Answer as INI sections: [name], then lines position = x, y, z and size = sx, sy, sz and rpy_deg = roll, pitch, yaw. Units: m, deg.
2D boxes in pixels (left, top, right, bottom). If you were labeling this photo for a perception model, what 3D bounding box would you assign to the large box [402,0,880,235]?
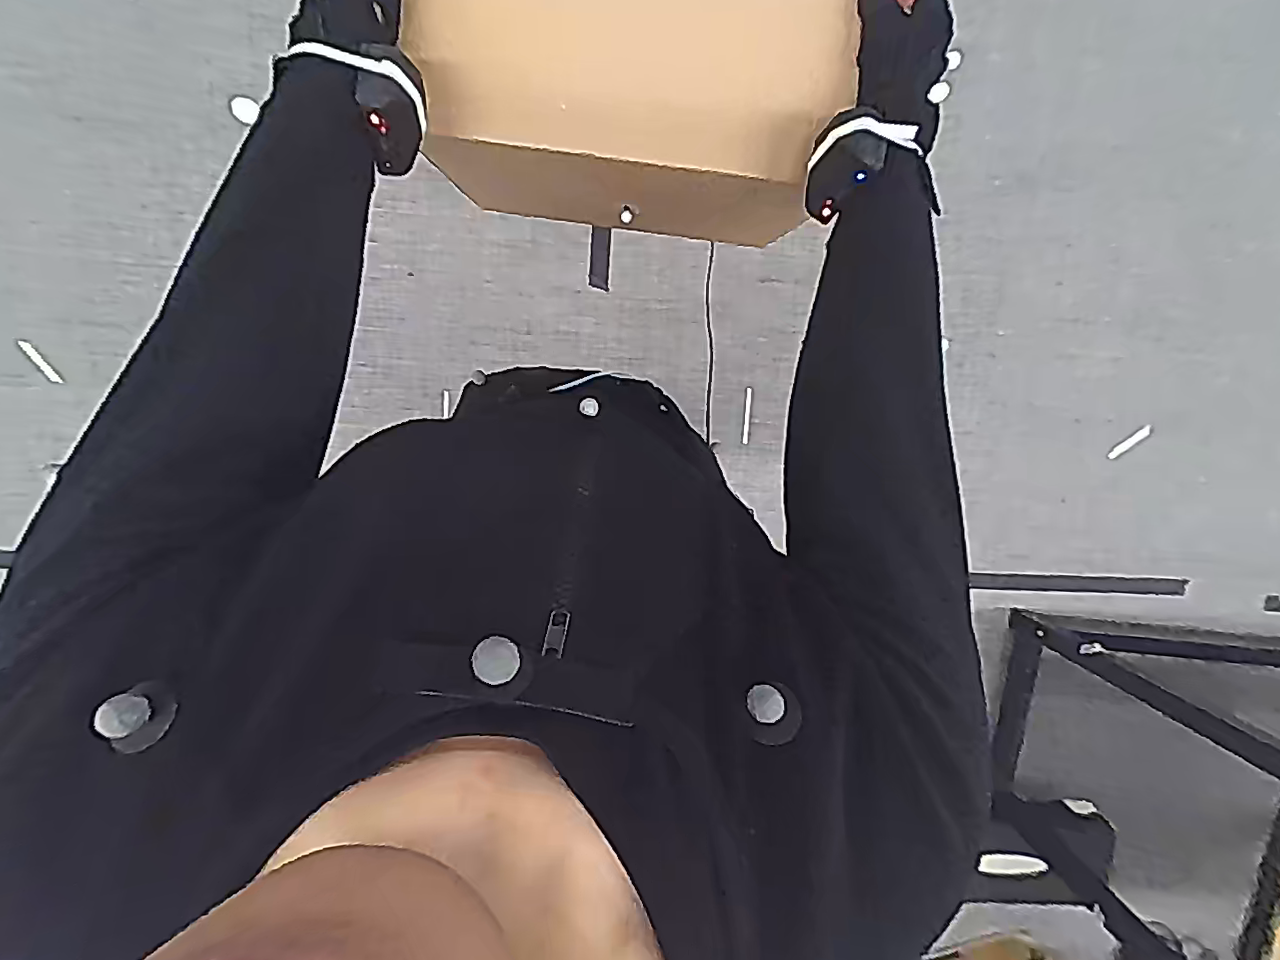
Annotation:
[large box]
position = 0.004, -0.470, 0.583
size = 0.408, 0.320, 0.320
rpy_deg = 6, 104, -3
